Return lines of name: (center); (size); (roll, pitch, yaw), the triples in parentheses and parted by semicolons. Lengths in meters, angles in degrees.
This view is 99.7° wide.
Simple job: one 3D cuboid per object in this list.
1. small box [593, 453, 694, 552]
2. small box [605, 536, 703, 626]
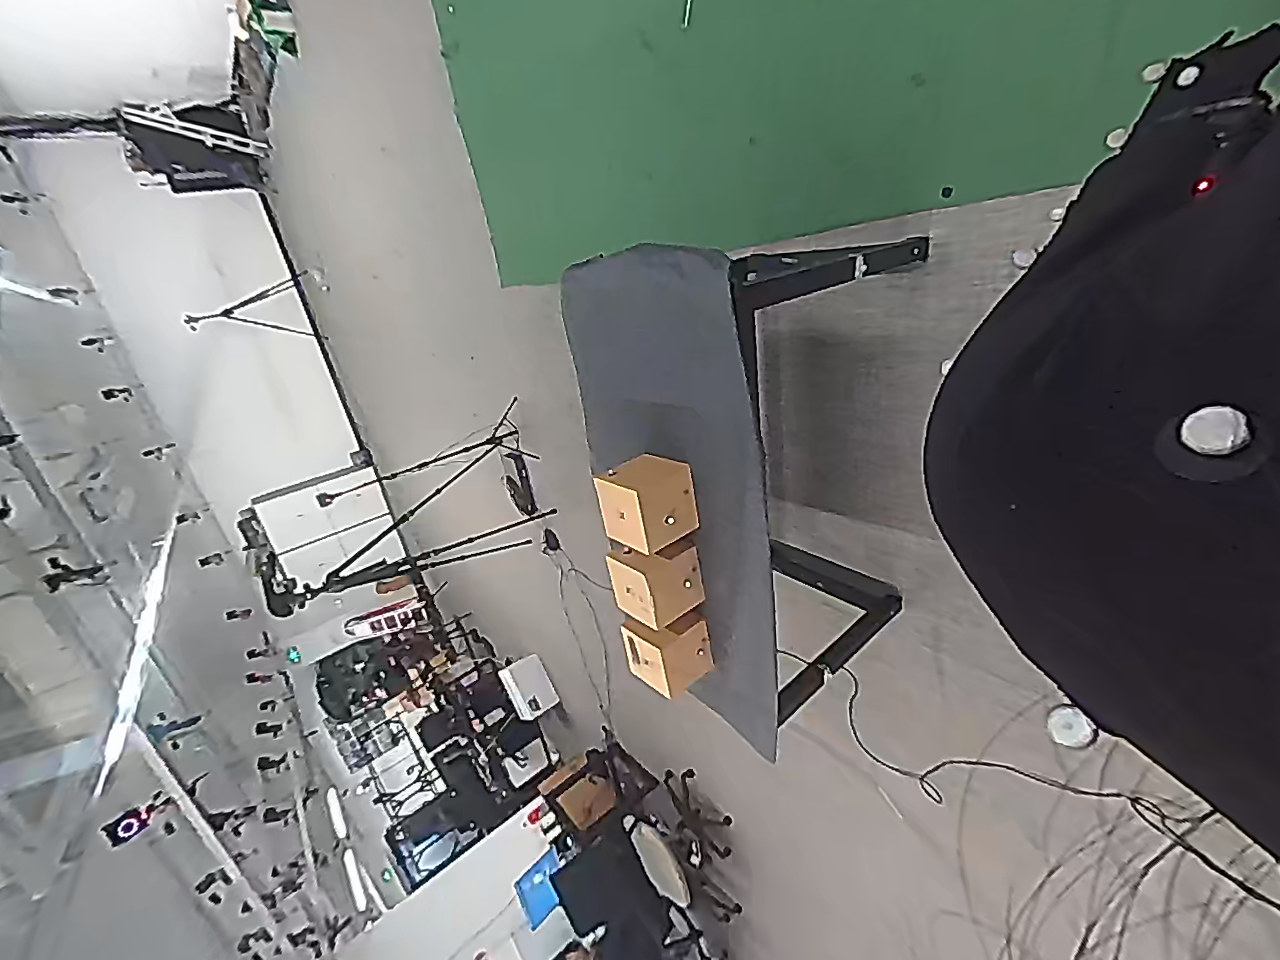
small box: (0.016, 0.046, 1.308); (0.179, 0.176, 0.168); (17, 125, 51)
small box: (0.038, 0.245, 1.409); (0.179, 0.176, 0.168); (15, 124, 51)
